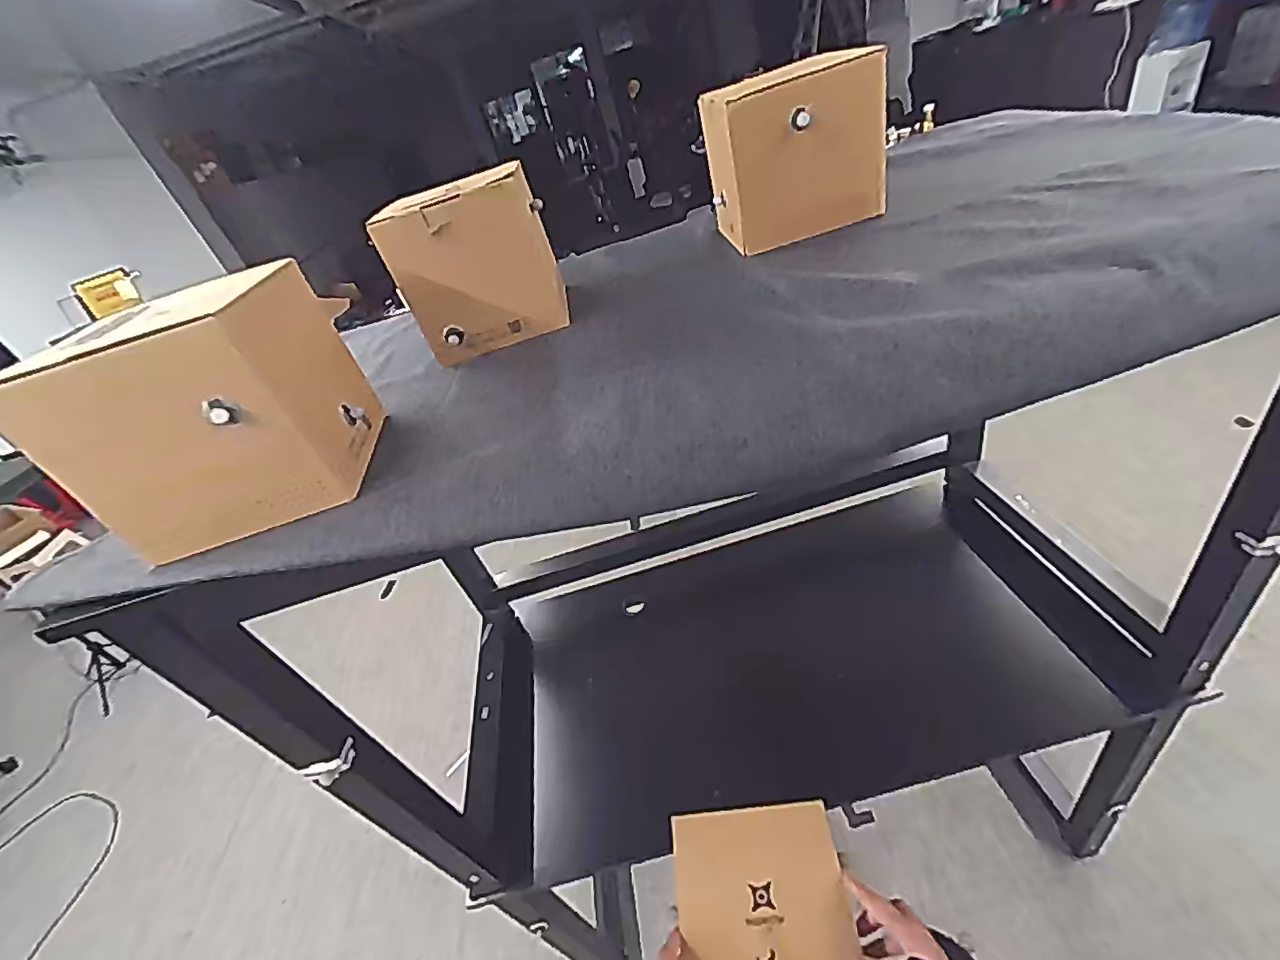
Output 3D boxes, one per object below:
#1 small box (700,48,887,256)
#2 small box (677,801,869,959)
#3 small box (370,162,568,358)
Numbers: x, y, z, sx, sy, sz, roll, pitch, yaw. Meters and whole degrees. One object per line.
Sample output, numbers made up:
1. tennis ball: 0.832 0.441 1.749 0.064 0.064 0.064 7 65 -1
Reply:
1. small box: 0.187 -0.405 0.675 0.179 0.176 0.168 -16 36 6
2. small box: 0.135 0.468 0.565 0.168 0.176 0.179 -10 39 6
3. small box: -0.194 -0.269 0.671 0.168 0.176 0.179 -18 35 2
